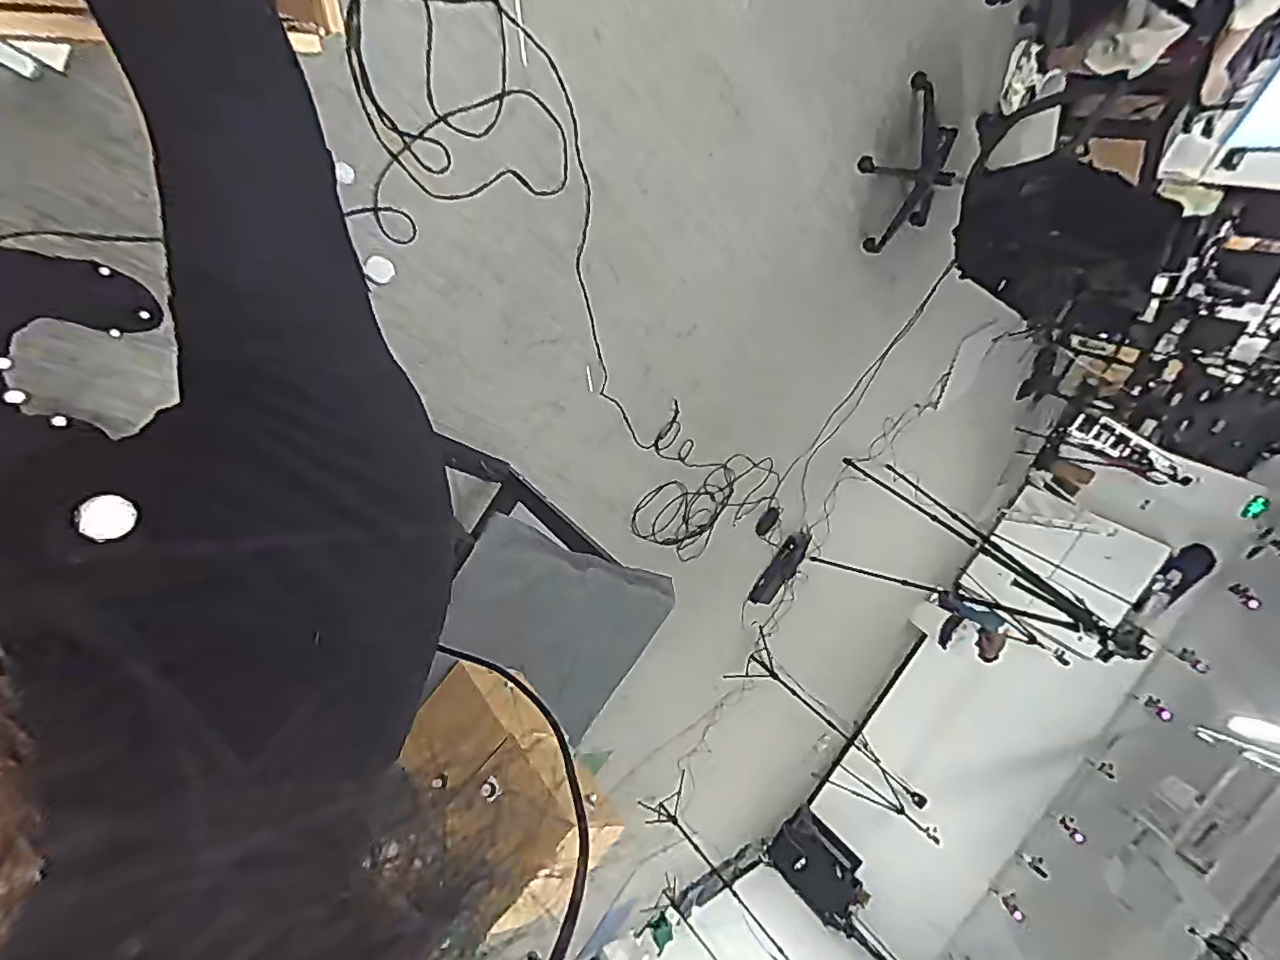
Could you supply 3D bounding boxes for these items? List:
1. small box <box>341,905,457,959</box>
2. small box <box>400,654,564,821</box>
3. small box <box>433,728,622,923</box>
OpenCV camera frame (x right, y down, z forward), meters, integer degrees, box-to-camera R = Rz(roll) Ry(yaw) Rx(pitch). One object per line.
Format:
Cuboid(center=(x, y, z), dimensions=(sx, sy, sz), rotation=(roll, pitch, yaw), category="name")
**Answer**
Cuboid(center=(-0.369, 0.788, 0.800), dimensions=(0.179, 0.176, 0.168), rotation=(-37, 140, -22), category="small box")
Cuboid(center=(-0.269, 0.423, 0.899), dimensions=(0.179, 0.176, 0.168), rotation=(-52, 144, -4), category="small box")
Cuboid(center=(-0.164, 0.496, 0.799), dimensions=(0.168, 0.176, 0.179), rotation=(-49, 142, -8), category="small box")
